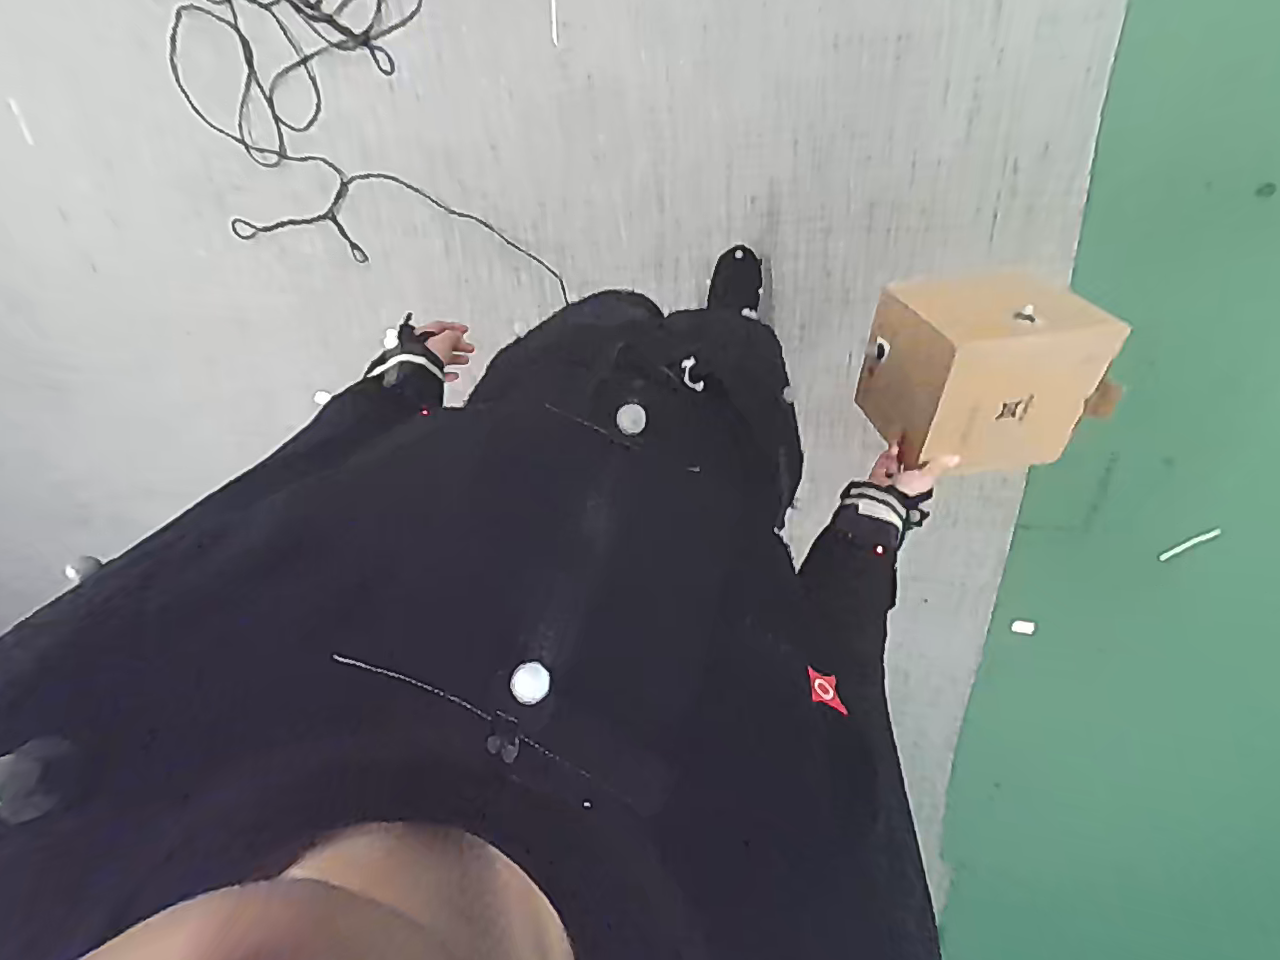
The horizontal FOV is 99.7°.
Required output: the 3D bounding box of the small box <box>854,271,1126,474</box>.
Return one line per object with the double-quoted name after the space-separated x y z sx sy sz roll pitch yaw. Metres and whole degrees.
0.379 -0.130 0.627 0.179 0.176 0.168 -7 129 -3 "small box"
